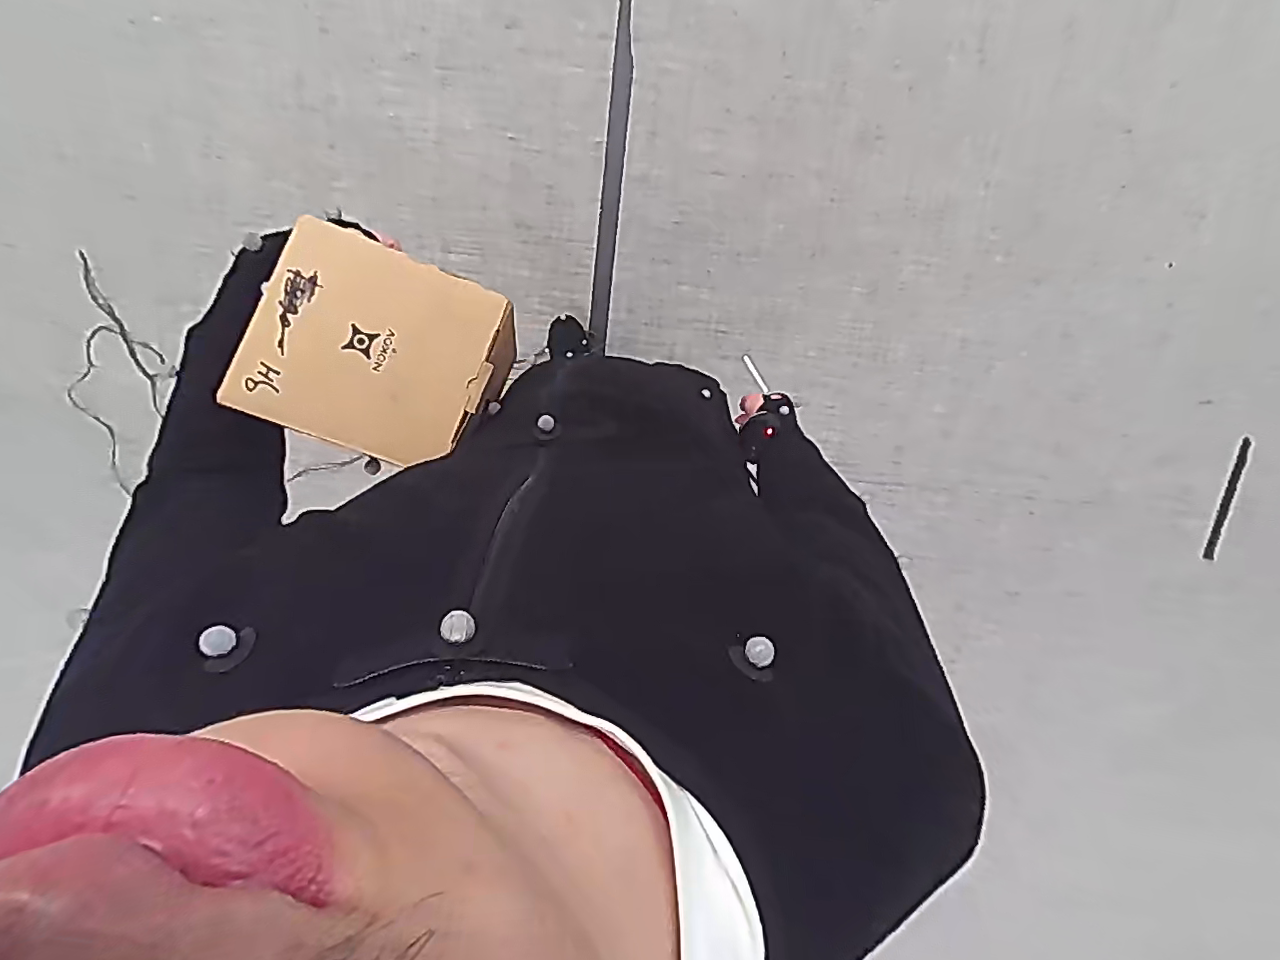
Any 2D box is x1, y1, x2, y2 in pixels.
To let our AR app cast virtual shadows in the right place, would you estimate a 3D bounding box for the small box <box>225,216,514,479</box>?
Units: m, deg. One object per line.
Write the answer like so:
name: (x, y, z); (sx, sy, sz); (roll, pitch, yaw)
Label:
small box: (-0.231, -0.105, 0.517); (0.179, 0.176, 0.168); (21, 83, -11)
